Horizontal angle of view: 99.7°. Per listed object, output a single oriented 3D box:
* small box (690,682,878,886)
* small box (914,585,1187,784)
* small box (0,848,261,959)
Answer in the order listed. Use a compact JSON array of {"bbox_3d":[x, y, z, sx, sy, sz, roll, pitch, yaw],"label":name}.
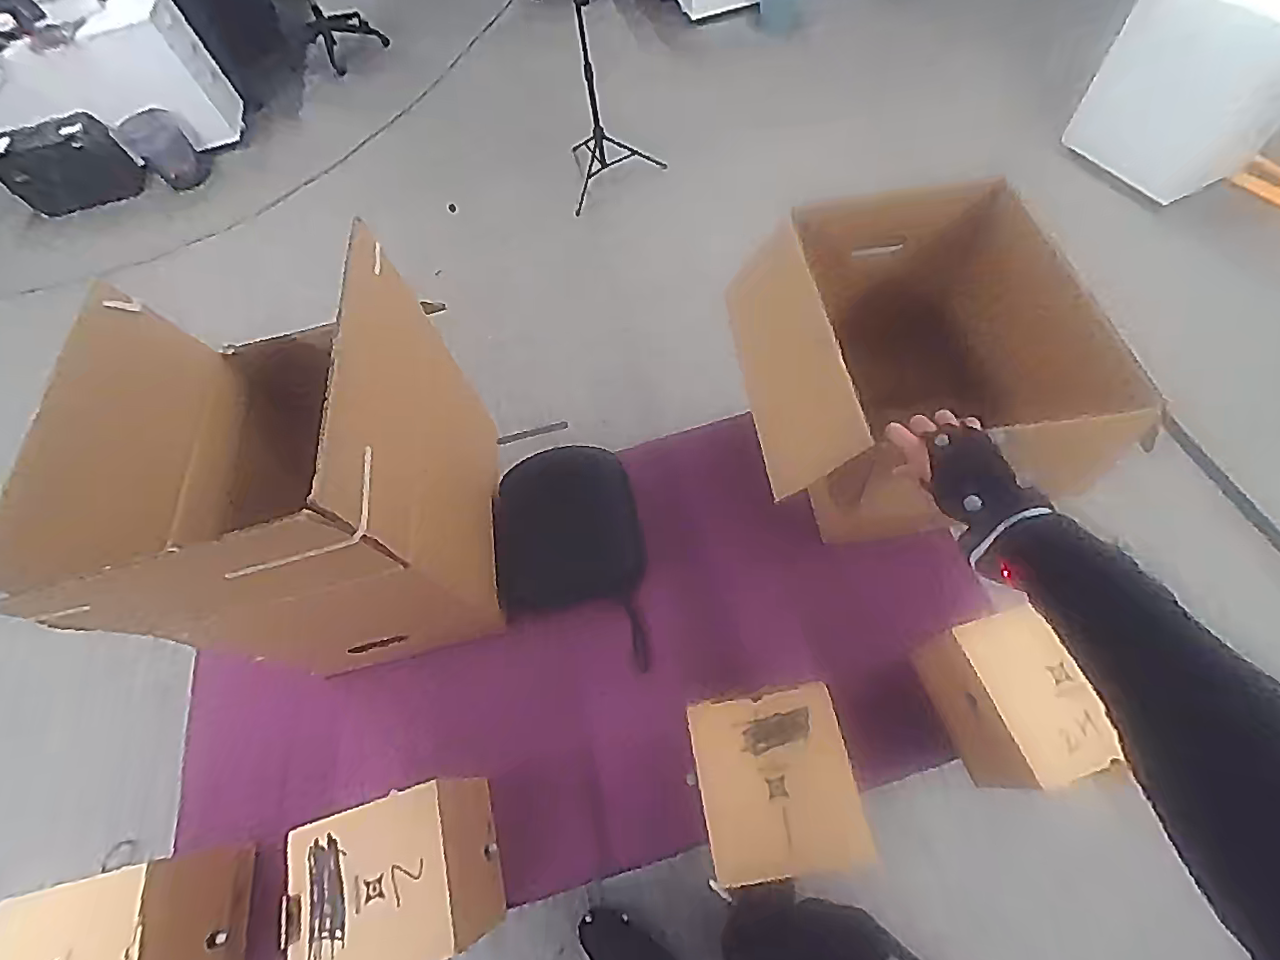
[{"bbox_3d":[0.156,0.357,0.653,0.168,0.176,0.179,-11,63,2],"label":"small box"},{"bbox_3d":[0.473,0.255,0.663,0.168,0.176,0.179,-18,61,-1],"label":"small box"},{"bbox_3d":[-0.602,0.562,0.643,0.179,0.176,0.168,-15,61,-2],"label":"small box"}]
